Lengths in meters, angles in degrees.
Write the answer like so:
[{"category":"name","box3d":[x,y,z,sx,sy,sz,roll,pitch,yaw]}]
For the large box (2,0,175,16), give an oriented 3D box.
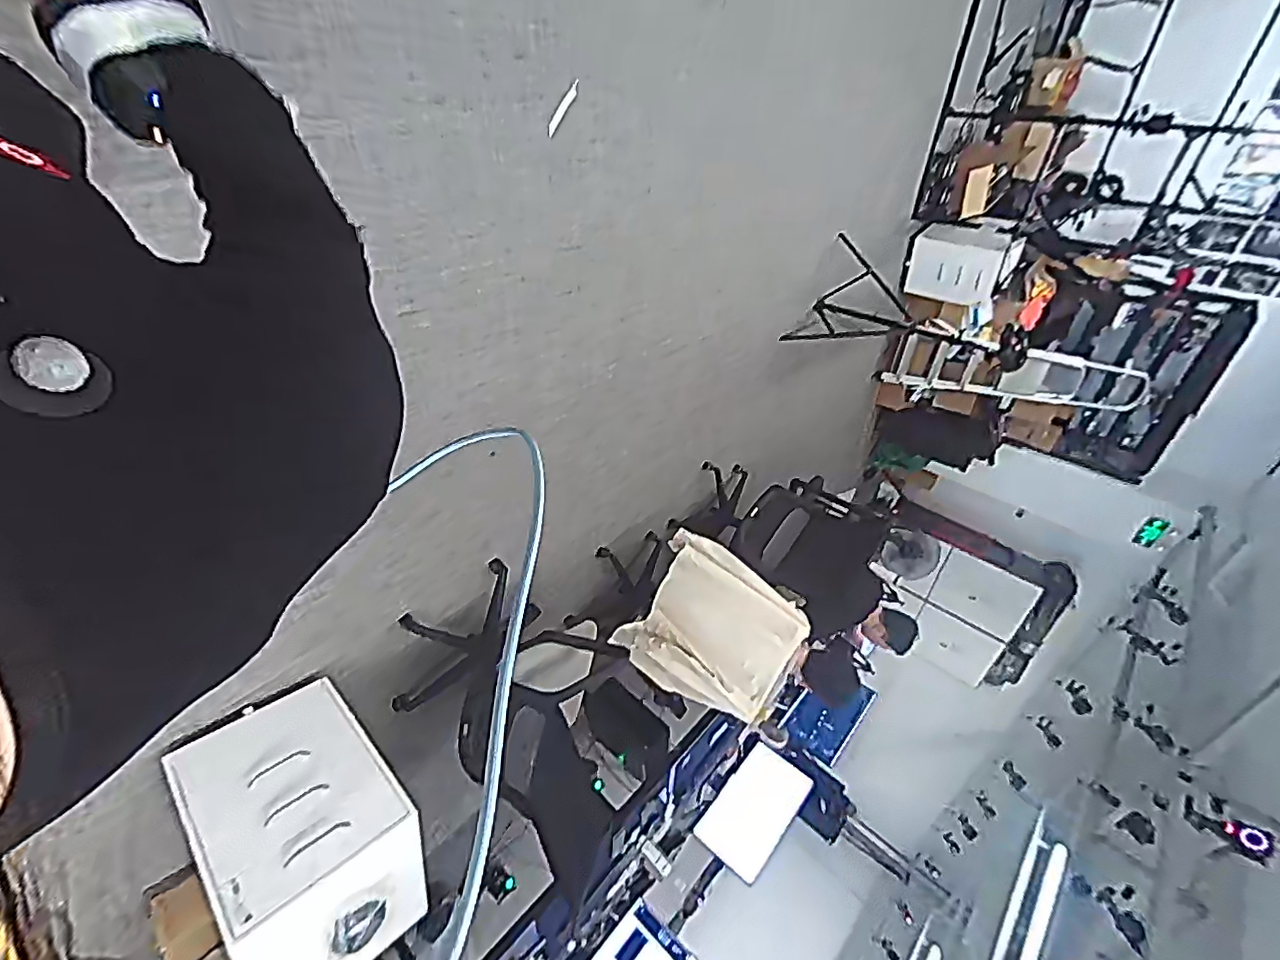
[{"category":"large box","box3d":[-0.846,-0.742,0.590,0.408,0.320,0.320,-28,134,-41]}]
